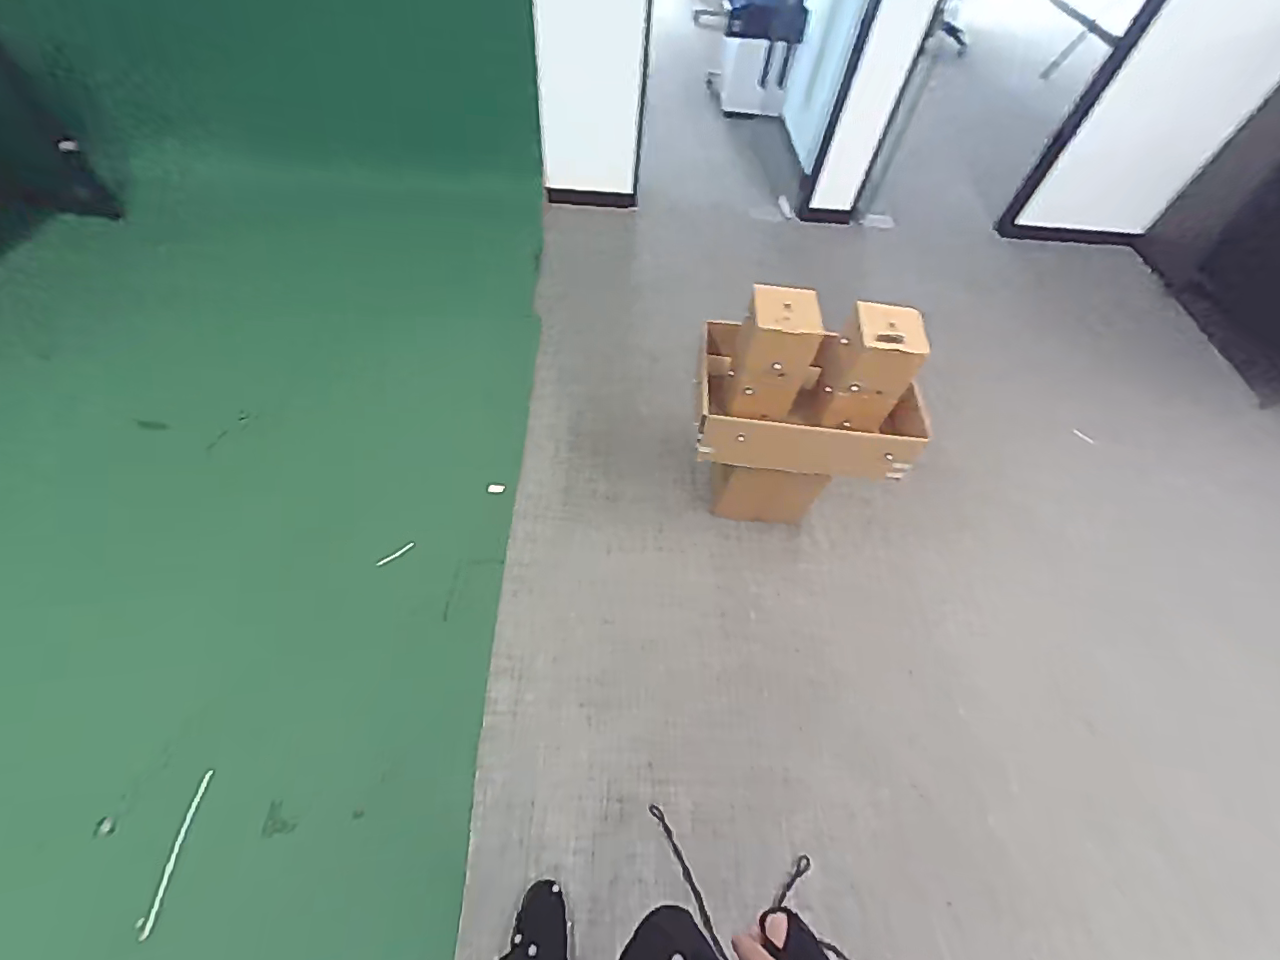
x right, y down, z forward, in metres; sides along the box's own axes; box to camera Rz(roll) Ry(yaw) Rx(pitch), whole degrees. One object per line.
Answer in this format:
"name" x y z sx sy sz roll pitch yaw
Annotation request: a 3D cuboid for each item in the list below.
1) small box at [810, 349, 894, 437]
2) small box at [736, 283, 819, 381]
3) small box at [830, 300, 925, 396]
"small box" 0.601 -0.250 1.560 0.168 0.176 0.179 7 56 -1
"small box" 0.353 -0.388 1.426 0.168 0.176 0.179 5 55 -2
"small box" 0.616 -0.343 1.425 0.168 0.176 0.179 8 55 -1
